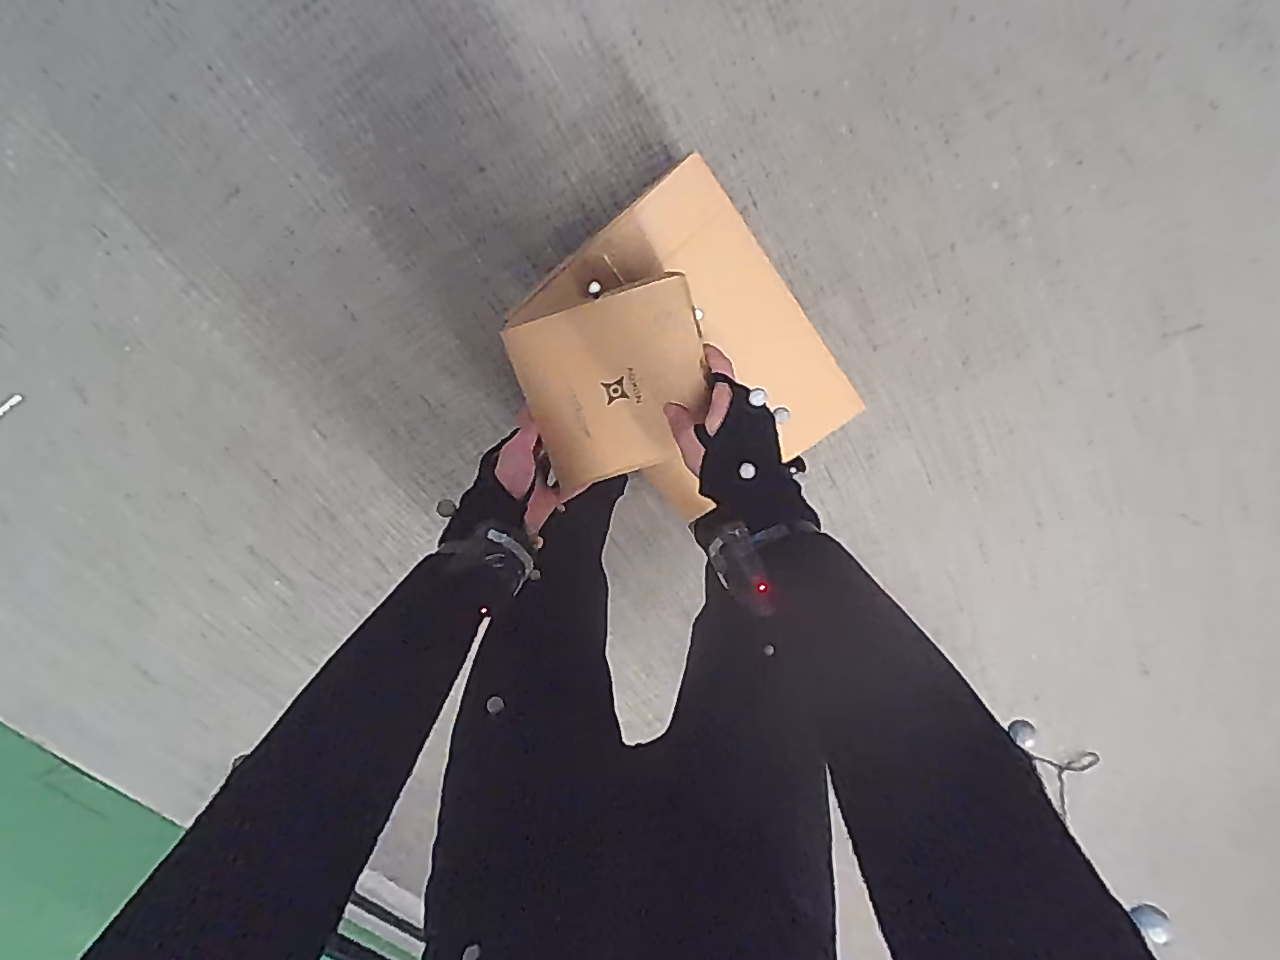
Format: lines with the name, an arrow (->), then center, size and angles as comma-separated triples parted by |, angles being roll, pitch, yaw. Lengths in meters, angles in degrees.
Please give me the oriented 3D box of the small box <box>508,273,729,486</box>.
small box -> -0.020, -0.119, 0.588 | 0.179, 0.176, 0.168 | -17, 110, 5
